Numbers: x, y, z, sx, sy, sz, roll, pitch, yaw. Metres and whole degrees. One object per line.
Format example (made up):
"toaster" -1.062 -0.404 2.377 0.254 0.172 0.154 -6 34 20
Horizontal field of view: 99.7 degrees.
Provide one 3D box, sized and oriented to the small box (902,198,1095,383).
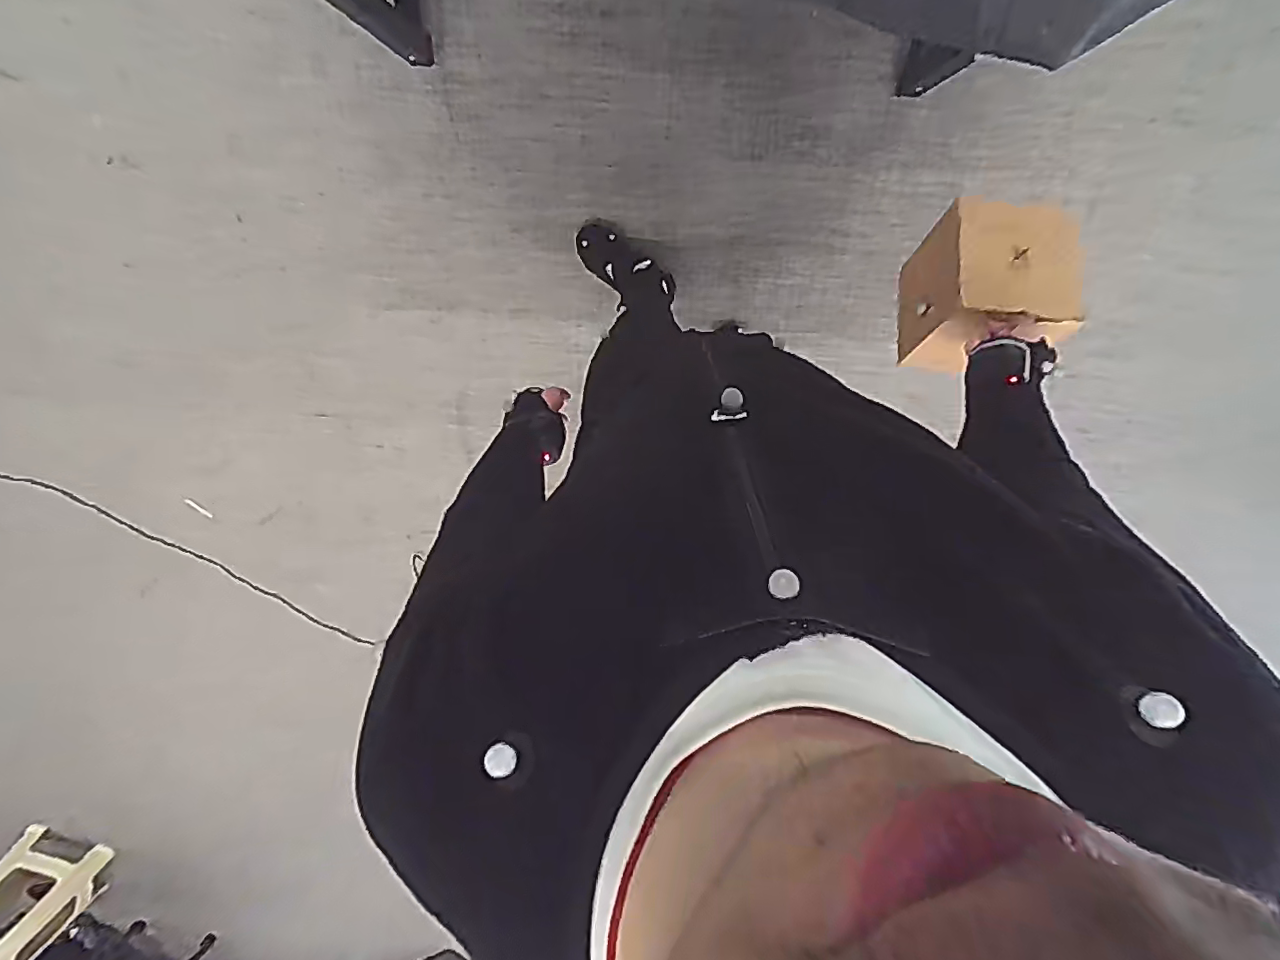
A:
"small box" 0.502 -0.262 0.783 0.168 0.176 0.179 11 71 -2
